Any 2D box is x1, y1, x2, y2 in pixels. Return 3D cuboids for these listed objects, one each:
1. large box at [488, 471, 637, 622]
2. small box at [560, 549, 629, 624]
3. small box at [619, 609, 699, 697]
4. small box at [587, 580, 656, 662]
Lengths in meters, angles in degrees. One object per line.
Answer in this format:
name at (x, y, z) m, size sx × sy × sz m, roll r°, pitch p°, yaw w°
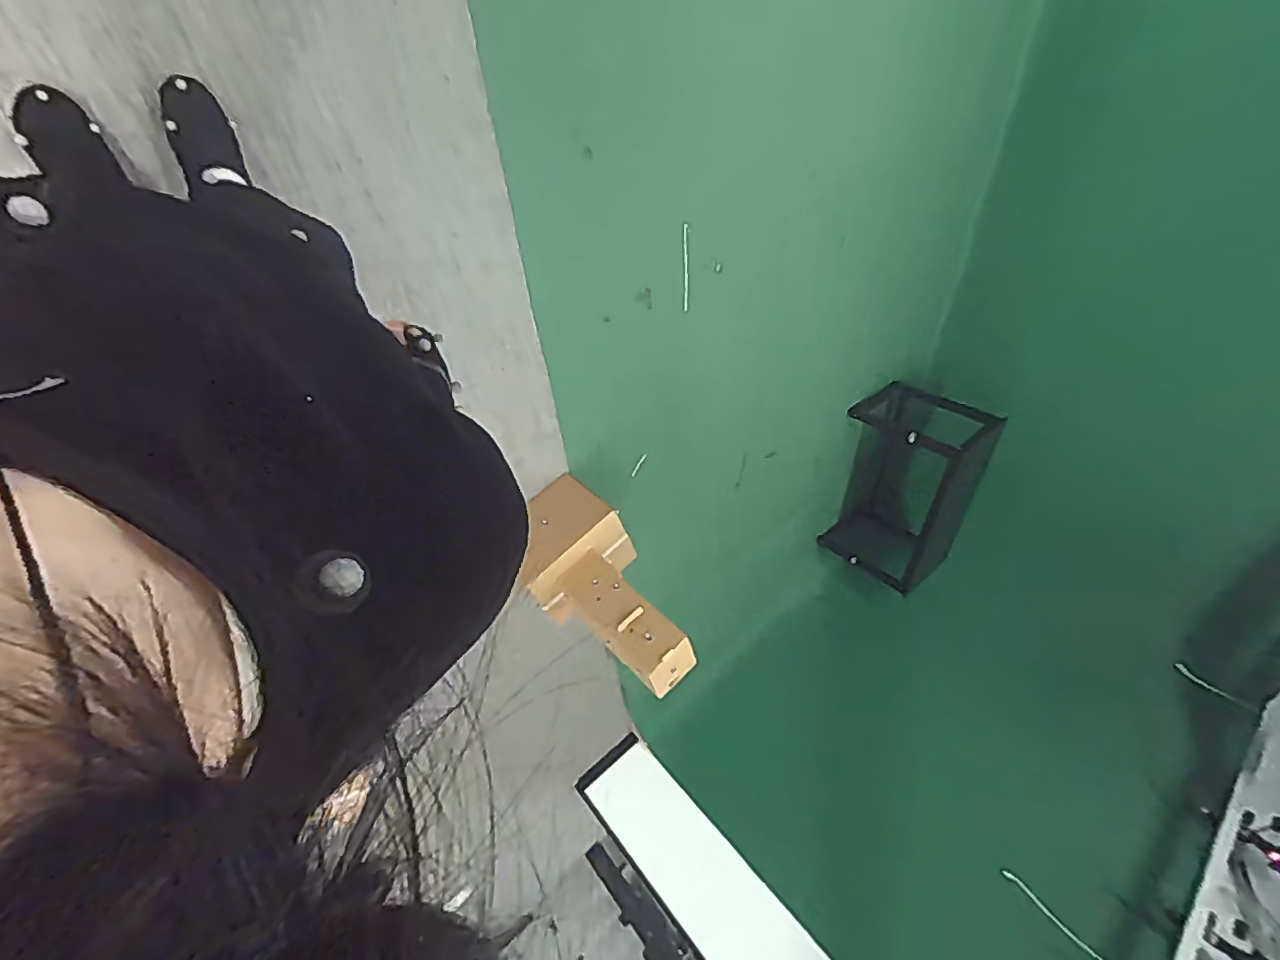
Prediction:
large box at (-0.287, 0.247, 2.048) m, size 0.408 × 0.320 × 0.320 m, roll -42°, pitch 141°, yaw -17°
small box at (-0.149, 0.376, 1.889) m, size 0.179 × 0.176 × 0.168 m, roll -39°, pitch 138°, yaw -19°
small box at (0.058, 0.531, 1.688) m, size 0.168 × 0.176 × 0.179 m, roll -38°, pitch 137°, yaw -19°
small box at (-0.051, 0.458, 1.787) m, size 0.168 × 0.176 × 0.179 m, roll -38°, pitch 138°, yaw -20°
